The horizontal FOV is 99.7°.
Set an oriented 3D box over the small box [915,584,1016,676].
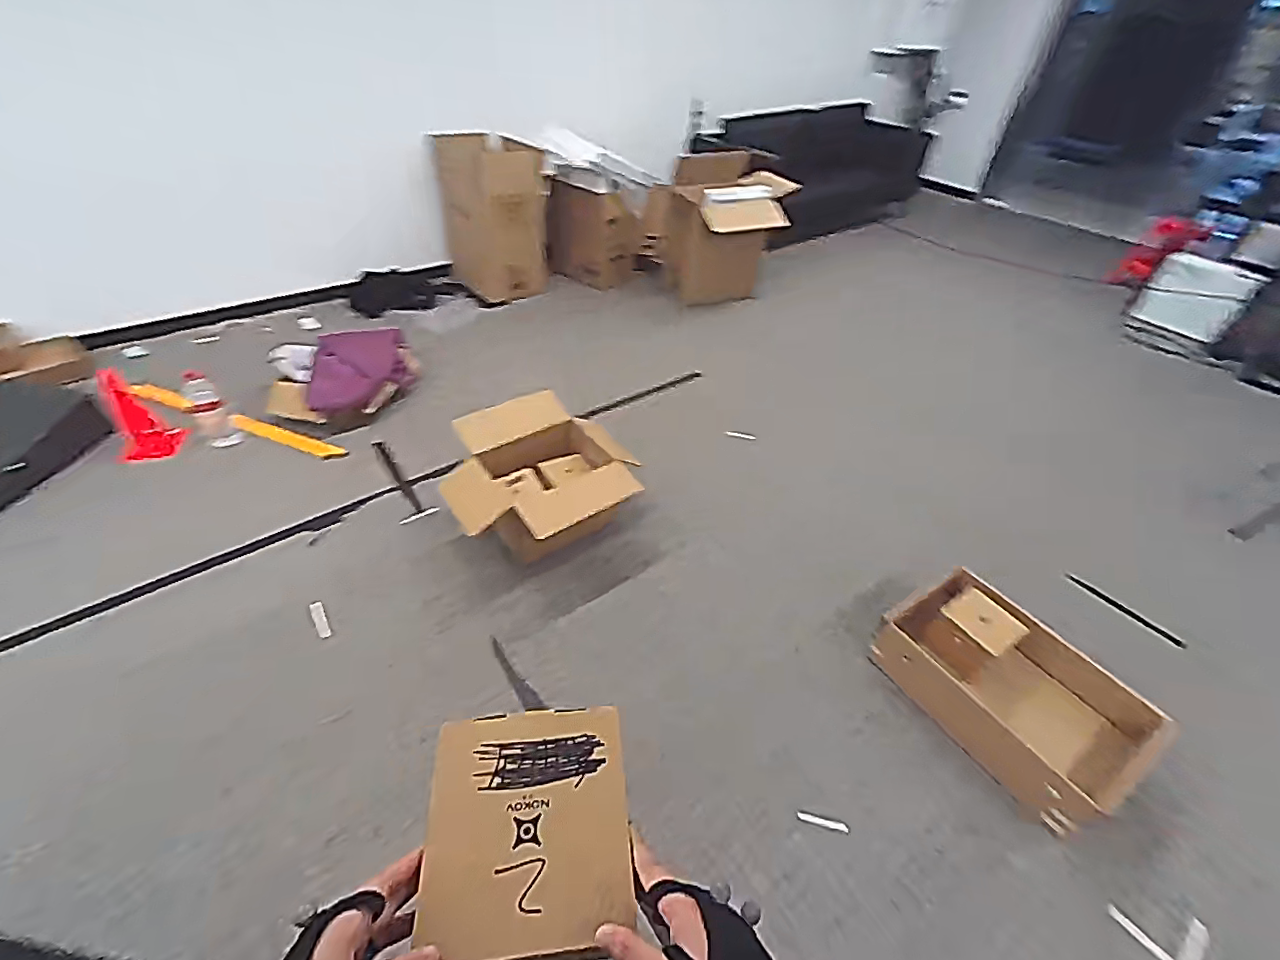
[{"bbox_3d":[0.982,0.459,1.648,0.168,0.176,0.179,-24,51,-25],"label":"small box"}]
